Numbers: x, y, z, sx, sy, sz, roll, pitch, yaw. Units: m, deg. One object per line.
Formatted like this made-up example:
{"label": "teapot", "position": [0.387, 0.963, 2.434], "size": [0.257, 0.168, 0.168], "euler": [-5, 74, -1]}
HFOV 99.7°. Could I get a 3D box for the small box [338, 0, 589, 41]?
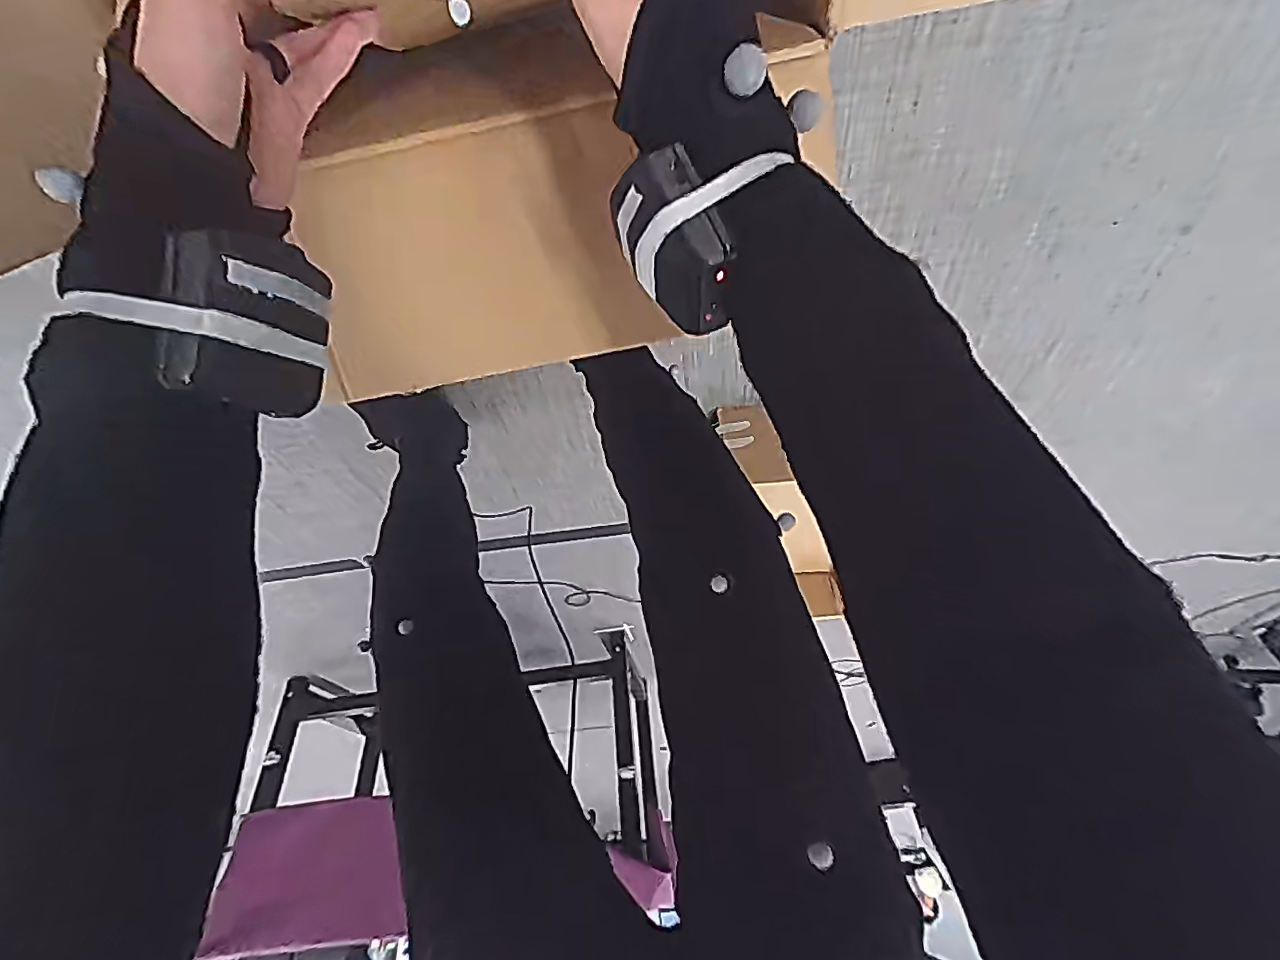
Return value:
{"label": "small box", "position": [-0.101, -0.353, 0.275], "size": [0.179, 0.176, 0.168], "euler": [-10, 122, 4]}
